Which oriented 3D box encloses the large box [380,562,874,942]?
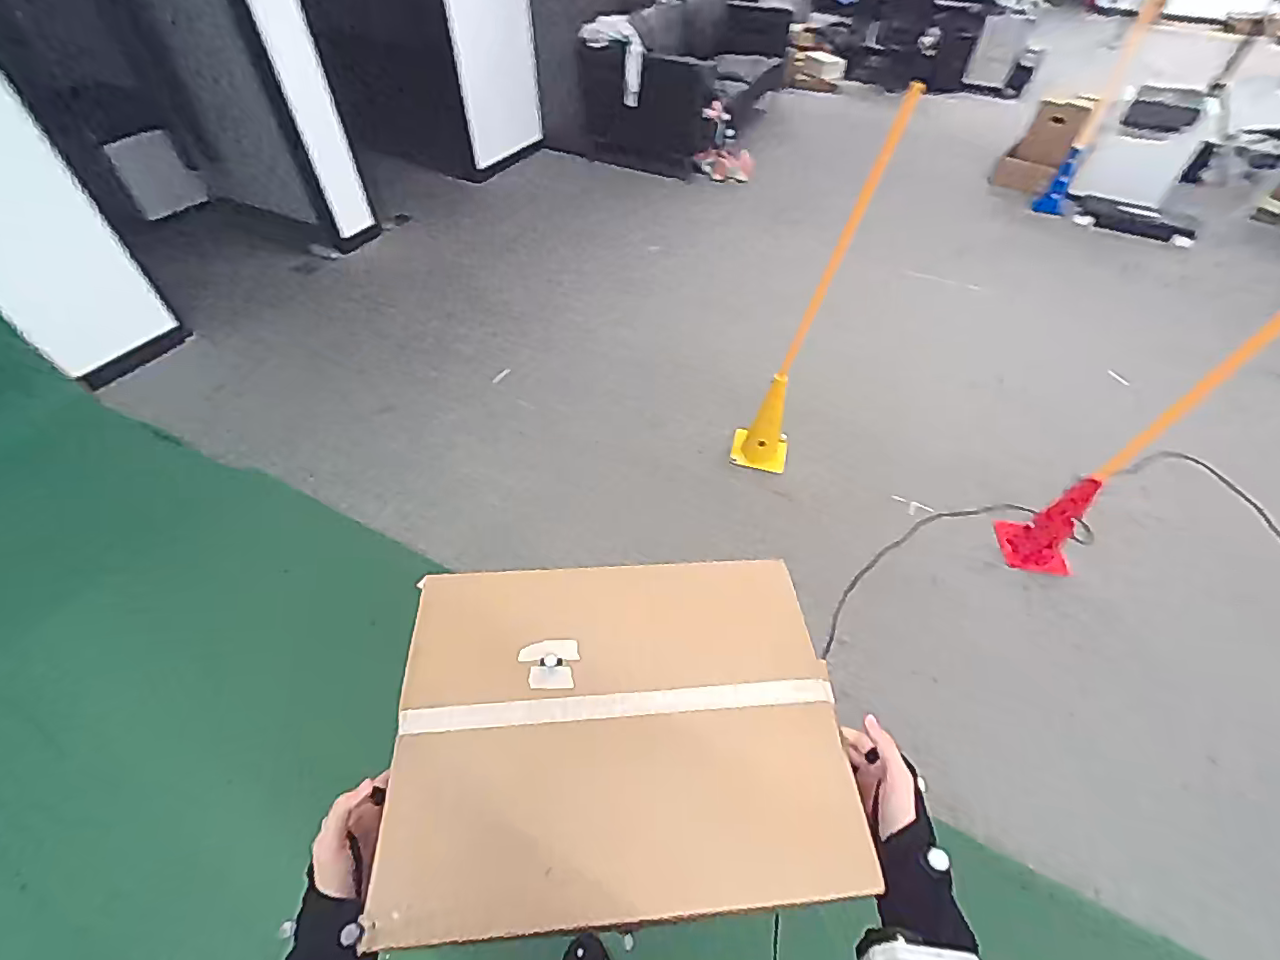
[{"bbox_3d":[-0.020,0.316,0.635,0.408,0.320,0.320,-2,50,-5],"label":"large box"}]
